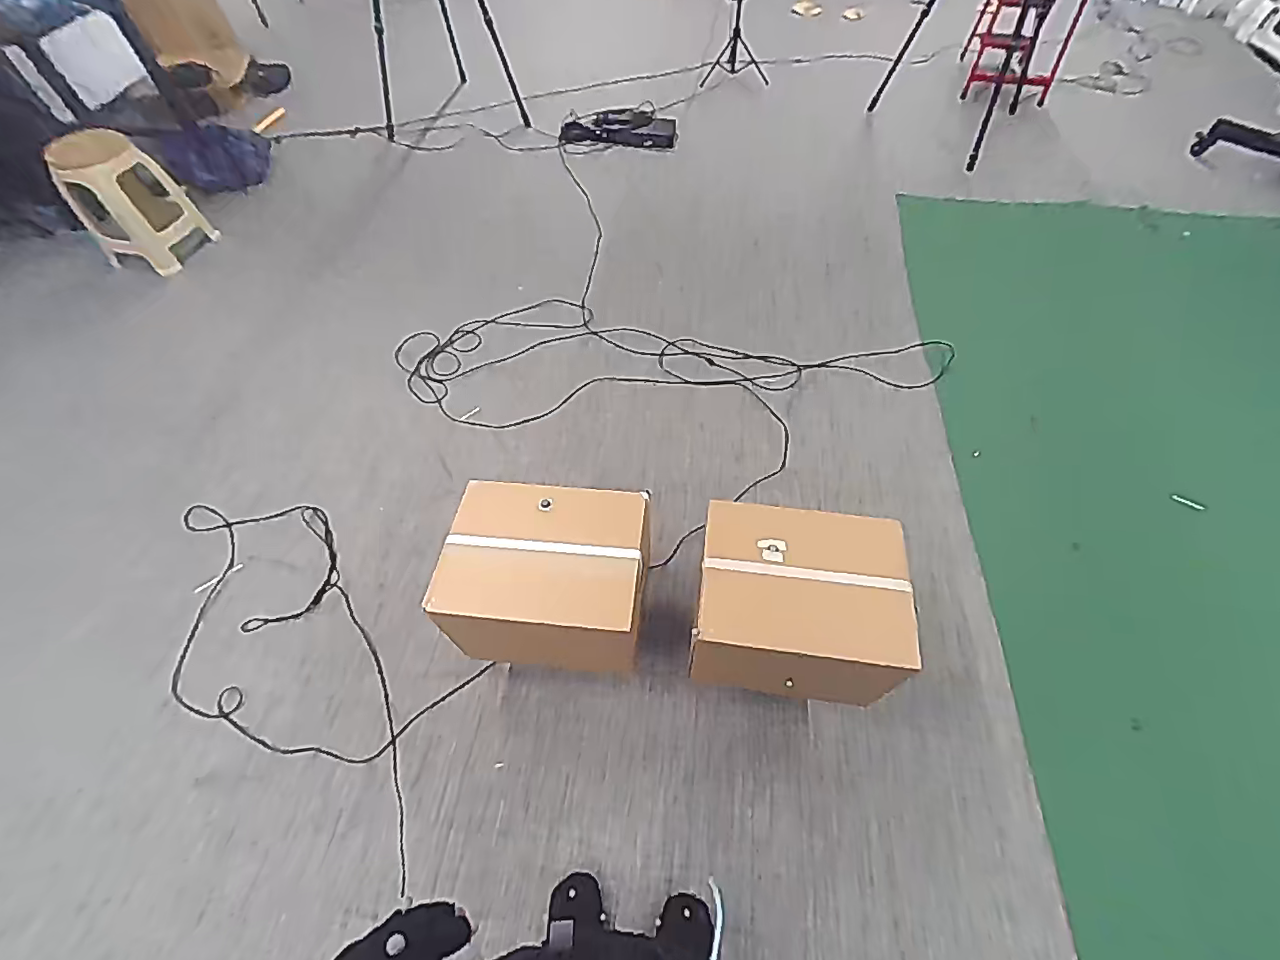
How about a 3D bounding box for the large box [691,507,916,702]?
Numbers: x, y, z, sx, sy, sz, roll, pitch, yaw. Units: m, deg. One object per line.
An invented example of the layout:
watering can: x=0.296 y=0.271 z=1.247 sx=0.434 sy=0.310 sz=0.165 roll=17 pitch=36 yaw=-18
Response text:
large box: x=0.334 y=0.284 z=1.206 sx=0.408 sy=0.320 sz=0.320 roll=6 pitch=56 yaw=6
